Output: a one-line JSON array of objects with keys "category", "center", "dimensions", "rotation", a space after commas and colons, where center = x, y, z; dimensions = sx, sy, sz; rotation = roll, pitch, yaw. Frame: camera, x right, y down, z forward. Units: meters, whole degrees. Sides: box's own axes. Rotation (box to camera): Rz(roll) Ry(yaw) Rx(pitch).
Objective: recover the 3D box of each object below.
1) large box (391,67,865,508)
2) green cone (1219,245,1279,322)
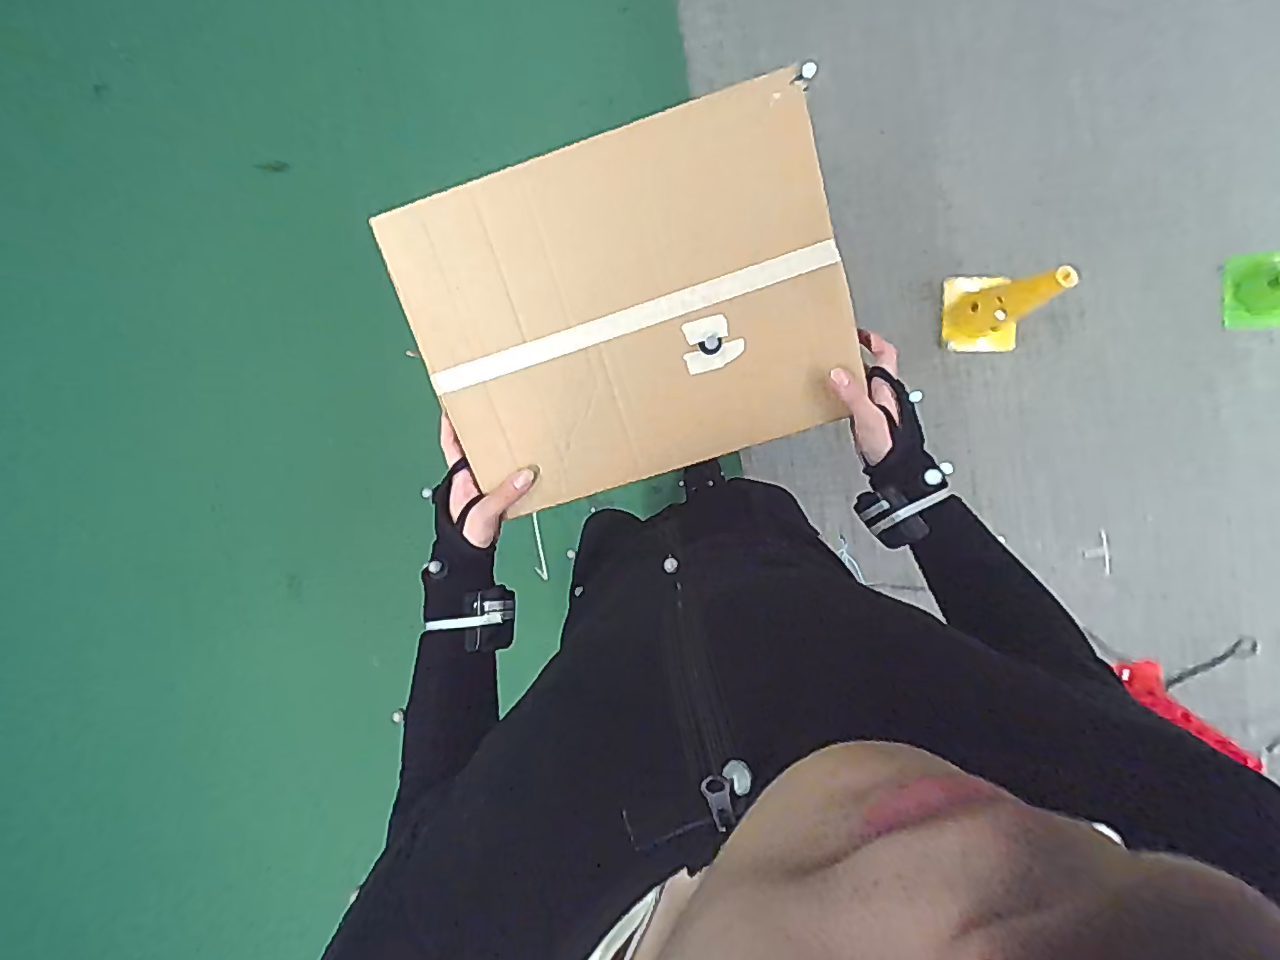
[{"category": "large box", "center": [-0.004, -0.202, 0.669], "dimensions": [0.408, 0.320, 0.320], "rotation": [-16, 105, 4]}, {"category": "green cone", "center": [1.688, -0.531, 1.314], "dimensions": [0.202, 0.368, 0.200], "rotation": [-3, 93, 5]}]
